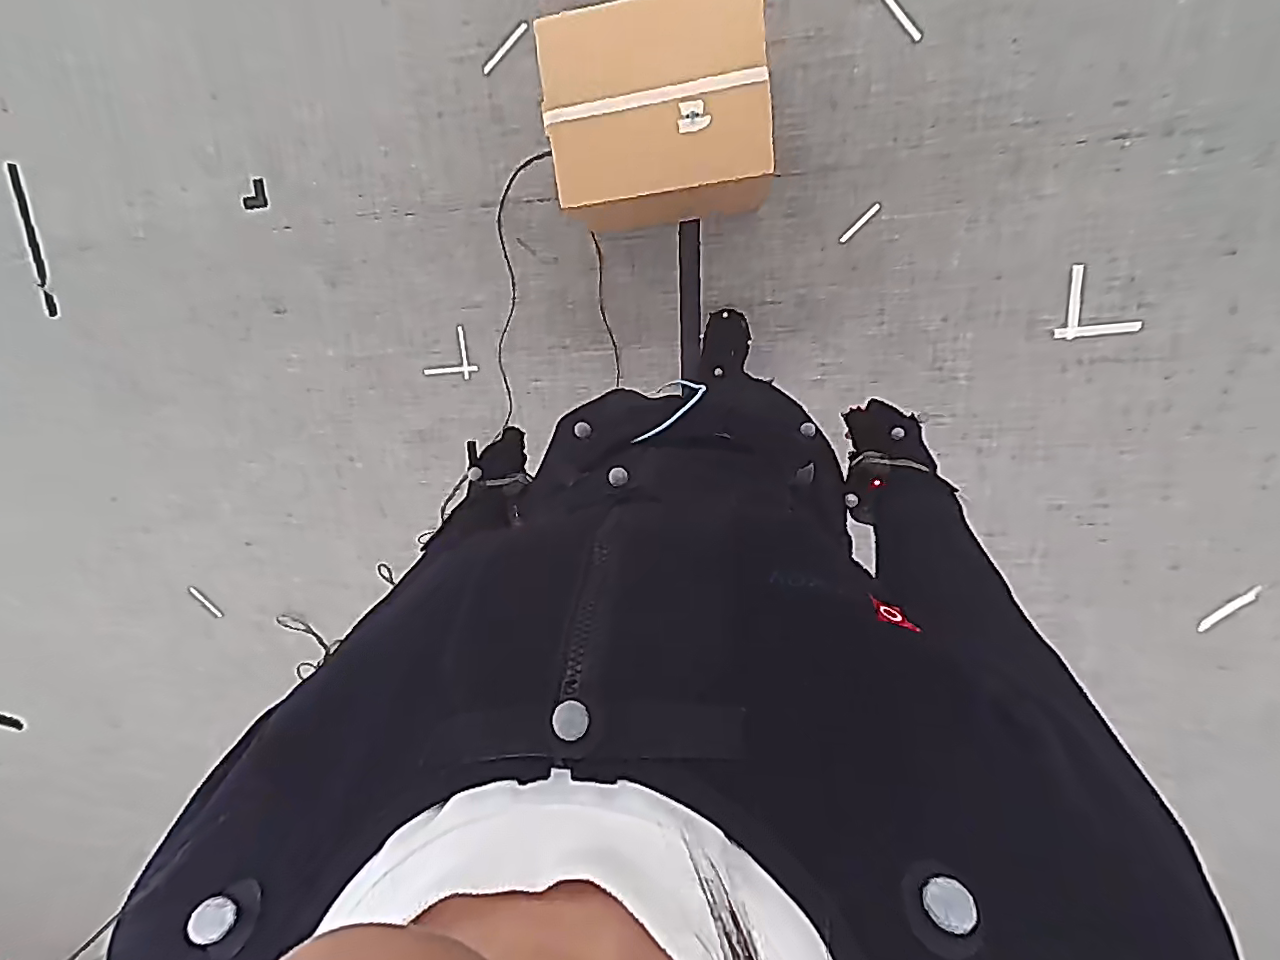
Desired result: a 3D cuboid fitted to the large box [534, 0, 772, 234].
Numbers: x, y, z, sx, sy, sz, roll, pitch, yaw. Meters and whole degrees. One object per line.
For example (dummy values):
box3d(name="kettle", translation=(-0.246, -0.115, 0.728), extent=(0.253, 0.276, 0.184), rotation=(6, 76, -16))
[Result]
box3d(name="large box", translation=(0.040, -0.724, 1.109), extent=(0.408, 0.320, 0.320), rotation=(-5, 105, 8))
